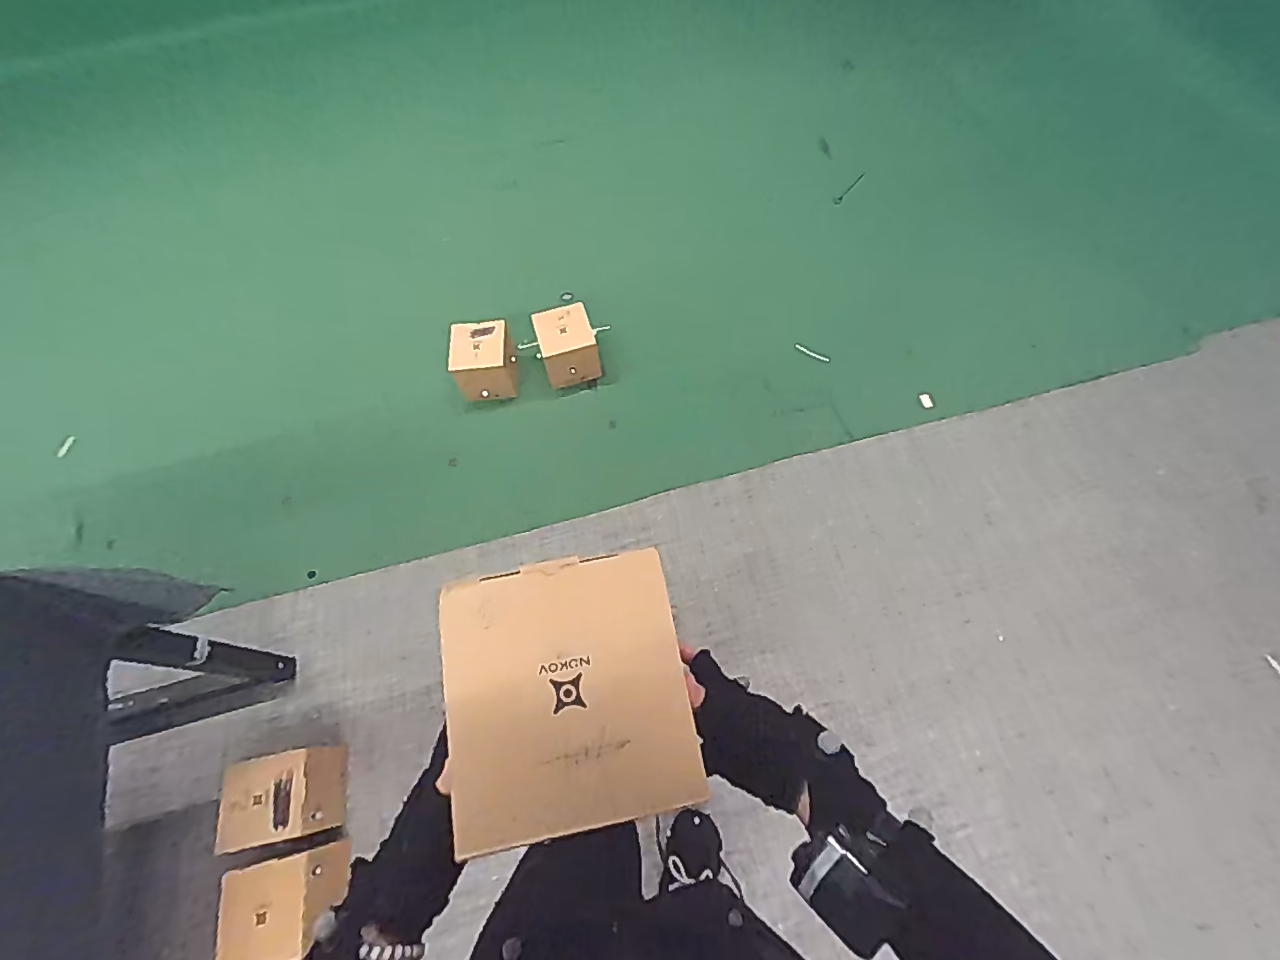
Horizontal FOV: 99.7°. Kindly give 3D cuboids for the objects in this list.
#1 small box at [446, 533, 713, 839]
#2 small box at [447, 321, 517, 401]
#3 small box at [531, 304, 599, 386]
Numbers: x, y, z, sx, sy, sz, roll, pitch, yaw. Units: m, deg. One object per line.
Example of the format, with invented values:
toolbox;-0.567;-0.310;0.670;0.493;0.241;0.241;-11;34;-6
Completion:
small box;-0.051;0.159;0.442;0.168;0.176;0.179;-9;70;-6
small box;-0.486;-0.369;1.682;0.168;0.176;0.179;-5;65;0
small box;-0.232;-0.416;1.697;0.168;0.176;0.179;-15;64;-7
